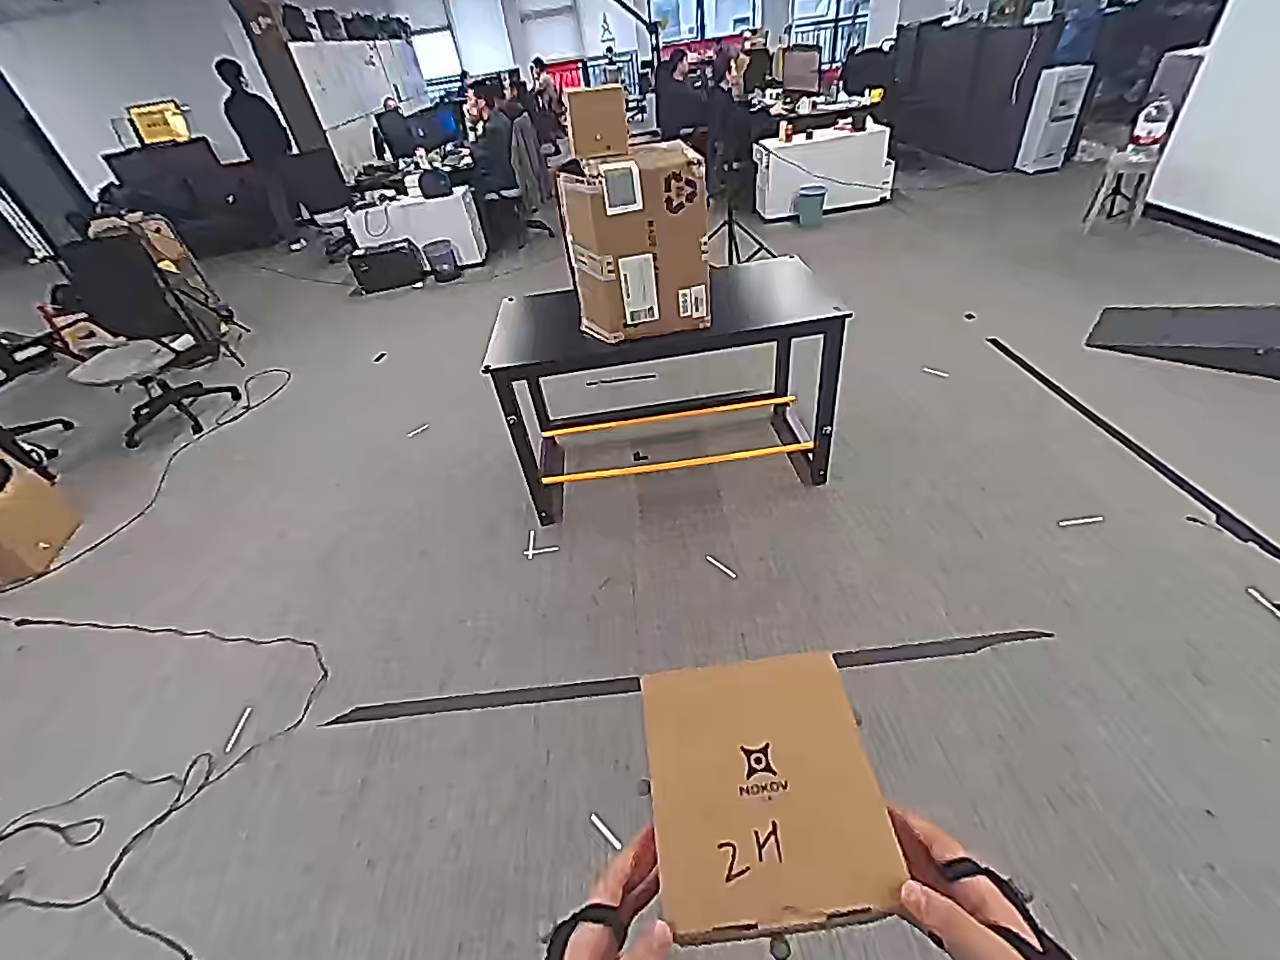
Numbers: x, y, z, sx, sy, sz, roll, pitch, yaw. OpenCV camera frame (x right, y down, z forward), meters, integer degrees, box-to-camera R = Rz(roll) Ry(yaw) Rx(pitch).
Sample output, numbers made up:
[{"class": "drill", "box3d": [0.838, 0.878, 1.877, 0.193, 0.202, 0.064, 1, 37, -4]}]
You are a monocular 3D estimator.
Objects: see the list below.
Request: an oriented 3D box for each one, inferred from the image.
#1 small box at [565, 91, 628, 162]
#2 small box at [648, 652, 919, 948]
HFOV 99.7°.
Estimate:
[{"class": "small box", "box3d": [-0.134, -1.078, 1.649, 0.168, 0.176, 0.179, -10, 37, -5]}, {"class": "small box", "box3d": [0.100, 0.273, 0.462, 0.168, 0.176, 0.179, -8, 47, 2]}]
